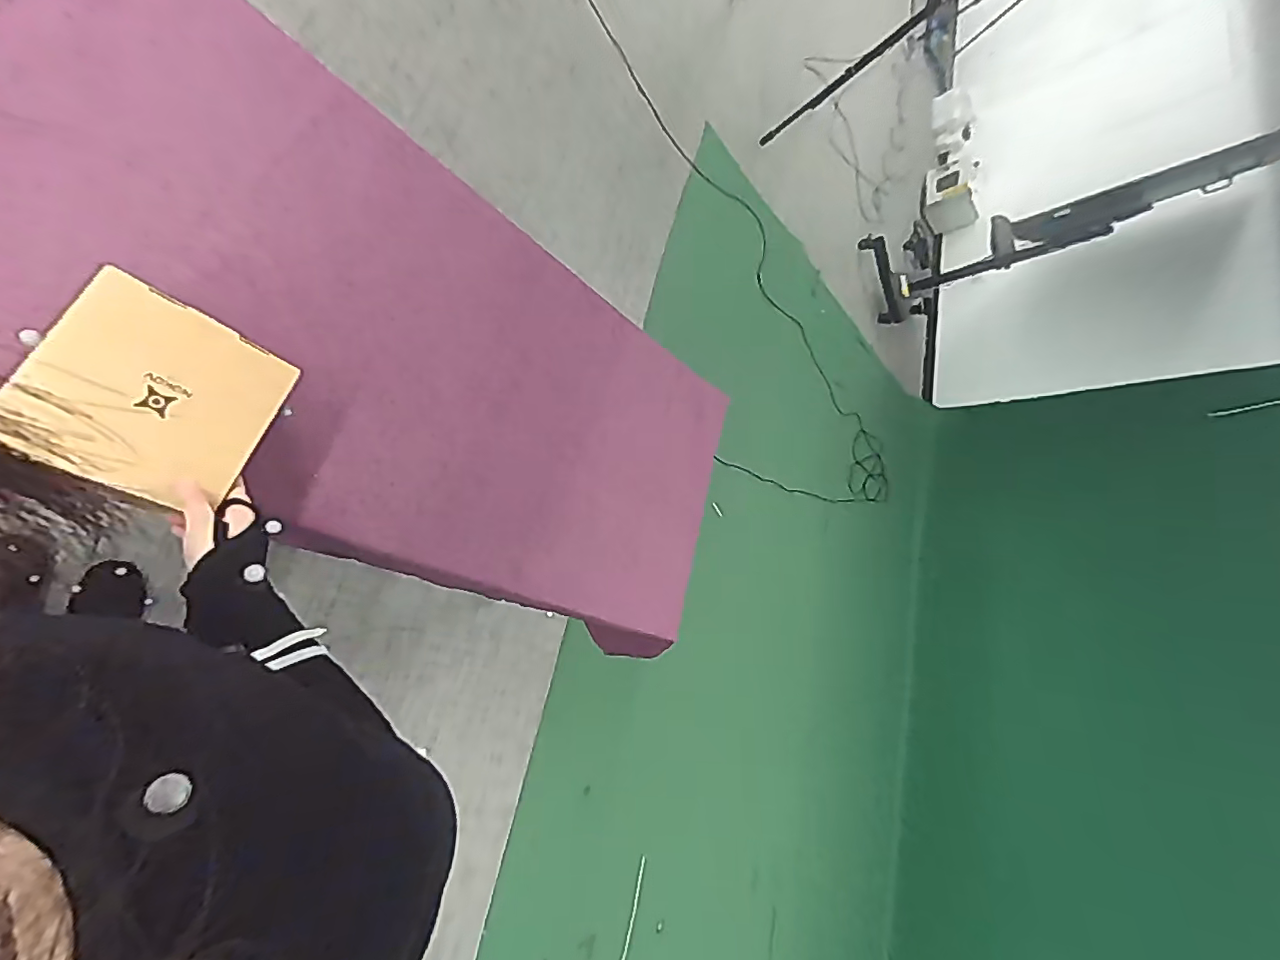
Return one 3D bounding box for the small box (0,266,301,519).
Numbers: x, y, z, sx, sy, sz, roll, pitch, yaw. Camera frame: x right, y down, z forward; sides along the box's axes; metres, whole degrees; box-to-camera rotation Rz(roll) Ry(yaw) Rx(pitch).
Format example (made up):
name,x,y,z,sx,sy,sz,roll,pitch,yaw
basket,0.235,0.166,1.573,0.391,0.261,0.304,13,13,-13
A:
name,x,y,z,sx,sy,sz,roll,pitch,yaw
small box,-0.485,-0.068,0.544,0.168,0.176,0.179,34,62,-37
